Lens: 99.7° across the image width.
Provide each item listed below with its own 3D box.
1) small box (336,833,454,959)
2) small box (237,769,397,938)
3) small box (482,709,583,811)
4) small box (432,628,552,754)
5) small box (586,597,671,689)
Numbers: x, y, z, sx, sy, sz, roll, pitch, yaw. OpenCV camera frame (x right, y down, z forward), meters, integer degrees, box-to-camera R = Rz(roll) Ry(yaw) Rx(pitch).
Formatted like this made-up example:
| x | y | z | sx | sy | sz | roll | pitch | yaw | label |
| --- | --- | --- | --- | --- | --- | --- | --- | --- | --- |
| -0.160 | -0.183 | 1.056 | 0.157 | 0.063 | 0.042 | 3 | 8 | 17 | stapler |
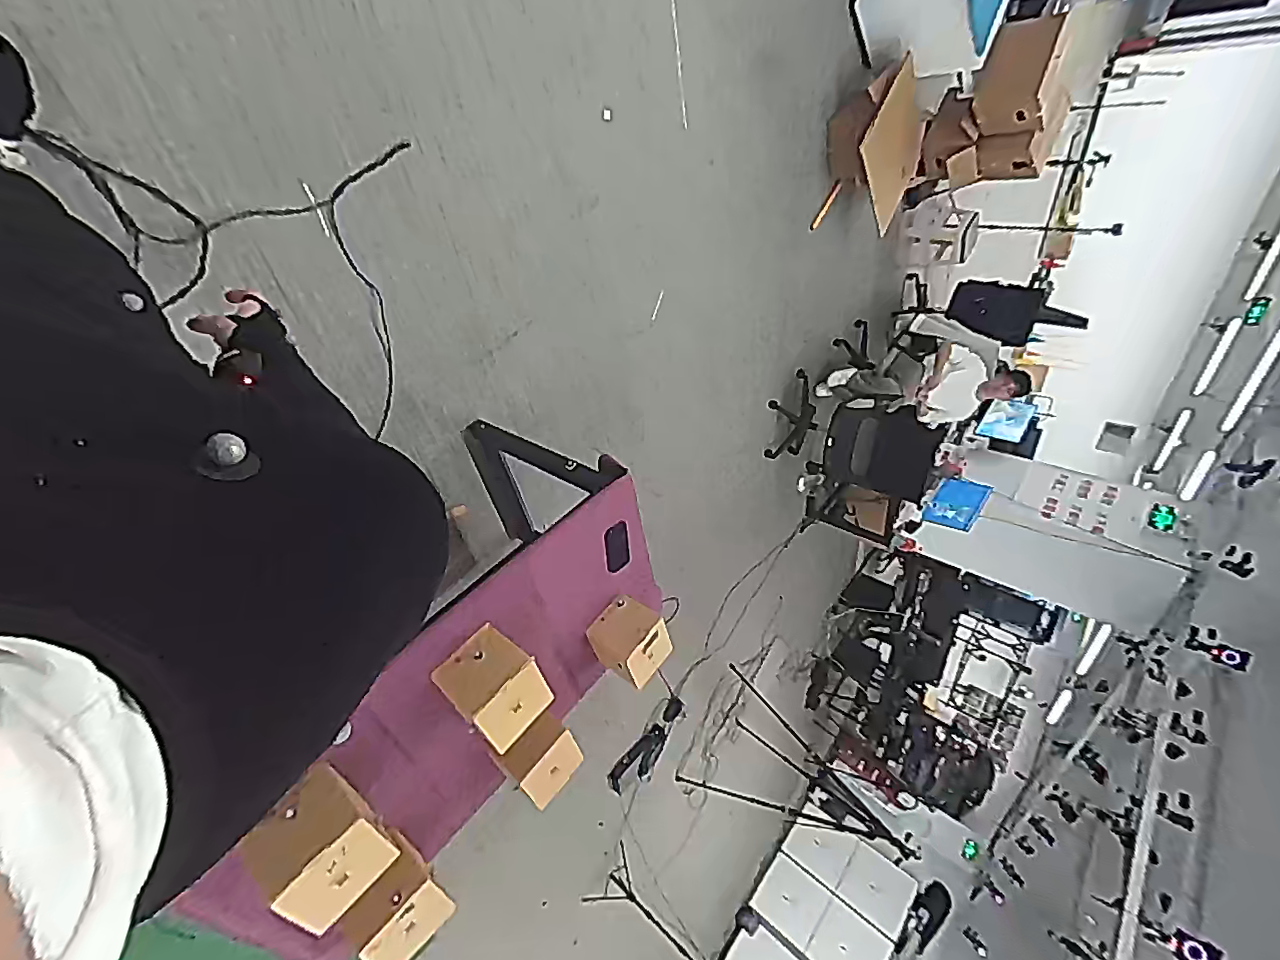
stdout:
| x | y | z | sx | sy | sz | roll | pitch | yaw | label |
| --- | --- | --- | --- | --- | --- | --- | --- | --- | --- |
| -0.548 | 0.926 | 1.189 | 0.168 | 0.176 | 0.179 | -40 | 136 | -34 | small box |
| -0.591 | 0.677 | 0.996 | 0.168 | 0.176 | 0.179 | -40 | 136 | -34 | small box |
| -0.281 | 0.713 | 1.418 | 0.168 | 0.176 | 0.179 | -42 | 136 | -32 | small box |
| -0.333 | 0.468 | 1.221 | 0.168 | 0.176 | 0.179 | -42 | 138 | -30 | small box |
| -0.035 | 0.473 | 1.601 | 0.168 | 0.176 | 0.179 | -44 | 138 | -28 | small box |
